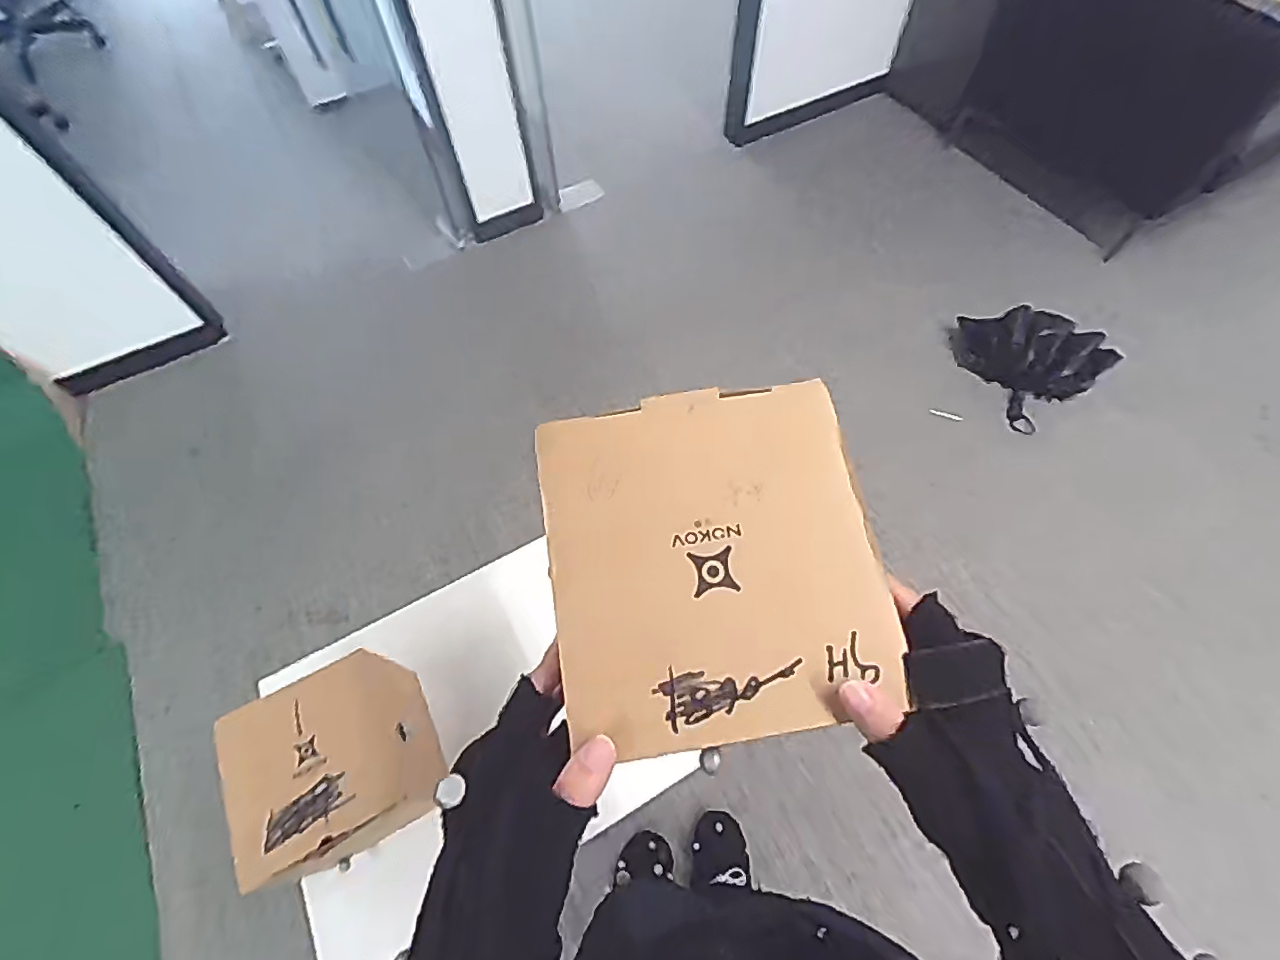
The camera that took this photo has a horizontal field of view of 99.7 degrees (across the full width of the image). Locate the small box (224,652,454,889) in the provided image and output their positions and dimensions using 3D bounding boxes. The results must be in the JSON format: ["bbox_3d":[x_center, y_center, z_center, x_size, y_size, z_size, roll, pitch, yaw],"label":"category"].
[{"bbox_3d":[-0.345,0.336,0.646,0.168,0.176,0.179,-26,63,-13],"label":"small box"}]

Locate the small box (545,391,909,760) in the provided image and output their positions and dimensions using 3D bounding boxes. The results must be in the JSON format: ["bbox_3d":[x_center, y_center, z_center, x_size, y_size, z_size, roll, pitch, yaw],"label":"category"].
[{"bbox_3d":[0.039,0.066,0.358,0.168,0.176,0.179,-9,72,0],"label":"small box"}]
